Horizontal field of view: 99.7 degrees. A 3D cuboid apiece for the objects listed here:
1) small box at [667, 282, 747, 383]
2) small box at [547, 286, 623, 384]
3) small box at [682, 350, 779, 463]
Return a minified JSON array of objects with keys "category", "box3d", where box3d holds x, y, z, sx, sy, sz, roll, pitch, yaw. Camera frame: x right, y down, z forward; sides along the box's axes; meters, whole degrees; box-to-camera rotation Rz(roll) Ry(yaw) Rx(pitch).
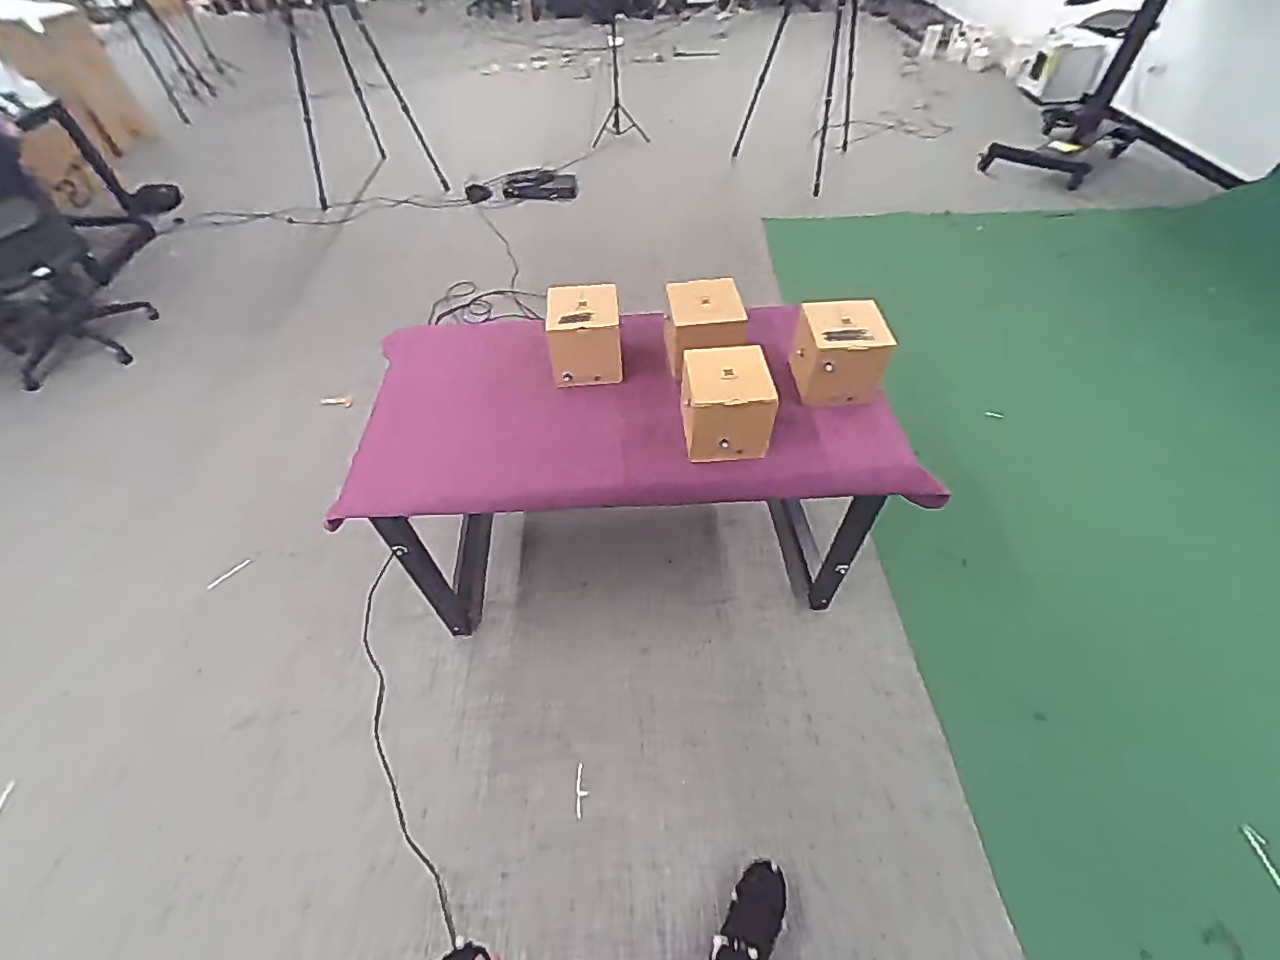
[{"category":"small box","box3d":[0.156,-0.360,1.322,0.168,0.176,0.179,-4,52,-1]},{"category":"small box","box3d":[-0.128,-0.348,1.315,0.168,0.176,0.179,-3,50,-2]},{"category":"small box","box3d":[0.183,-0.157,1.156,0.168,0.176,0.179,-4,51,-2]}]
